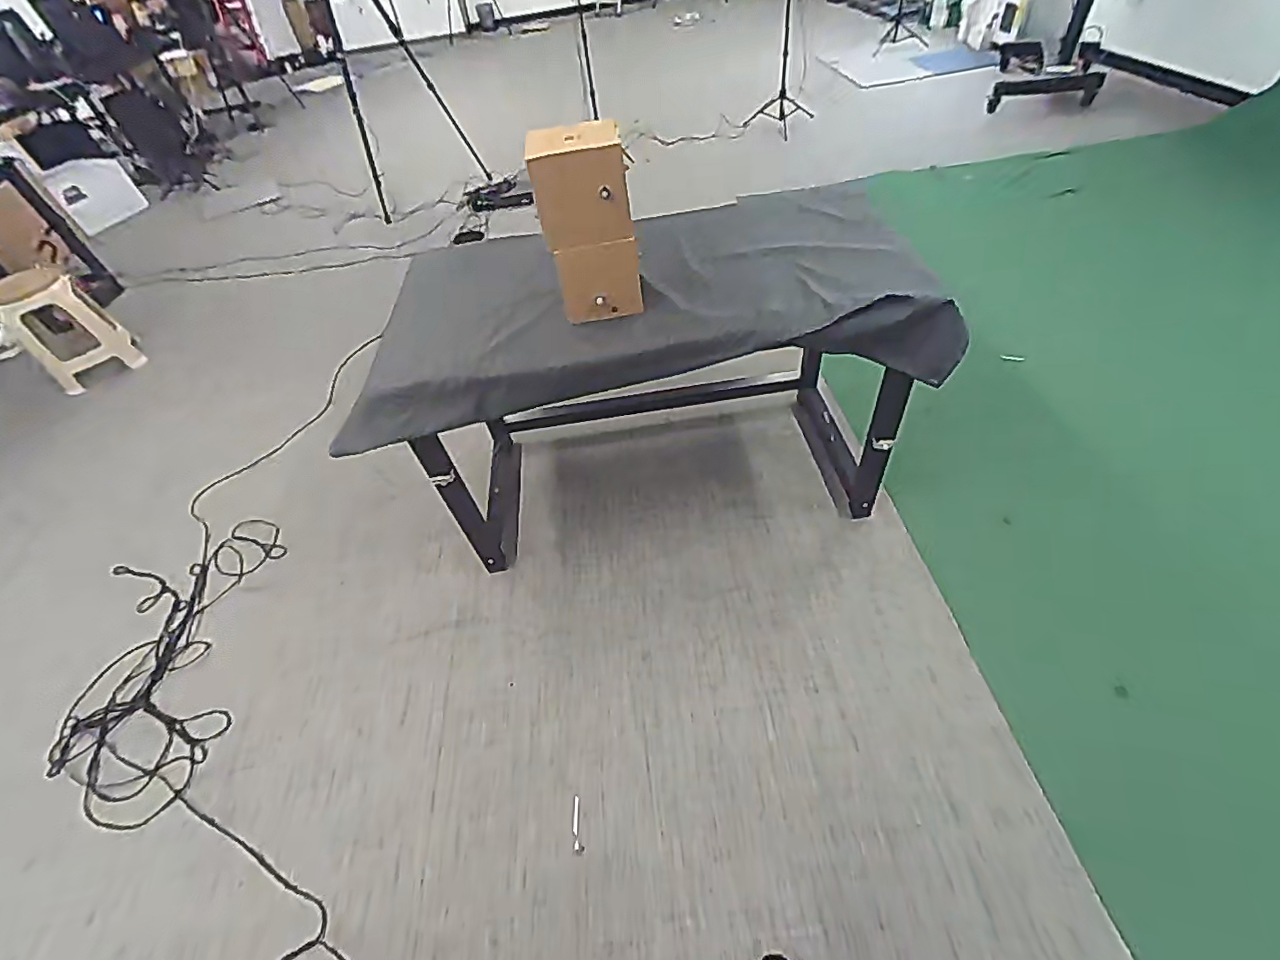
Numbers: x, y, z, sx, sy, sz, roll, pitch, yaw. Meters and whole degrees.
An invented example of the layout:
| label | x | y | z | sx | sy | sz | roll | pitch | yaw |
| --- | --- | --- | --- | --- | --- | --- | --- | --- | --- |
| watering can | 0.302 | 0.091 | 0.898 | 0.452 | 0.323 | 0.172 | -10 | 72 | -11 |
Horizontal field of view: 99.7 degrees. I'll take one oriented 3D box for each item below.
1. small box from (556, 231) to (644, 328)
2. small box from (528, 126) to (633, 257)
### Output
| label | x | y | z | sx | sy | sz | roll | pitch | yaw |
| --- | --- | --- | --- | --- | --- | --- | --- | --- | --- |
| small box | -0.087 | -0.460 | 1.186 | 0.168 | 0.176 | 0.179 | -9 | 48 | 1 |
| small box | -0.112 | -0.565 | 1.066 | 0.179 | 0.176 | 0.168 | -10 | 47 | 1 |
